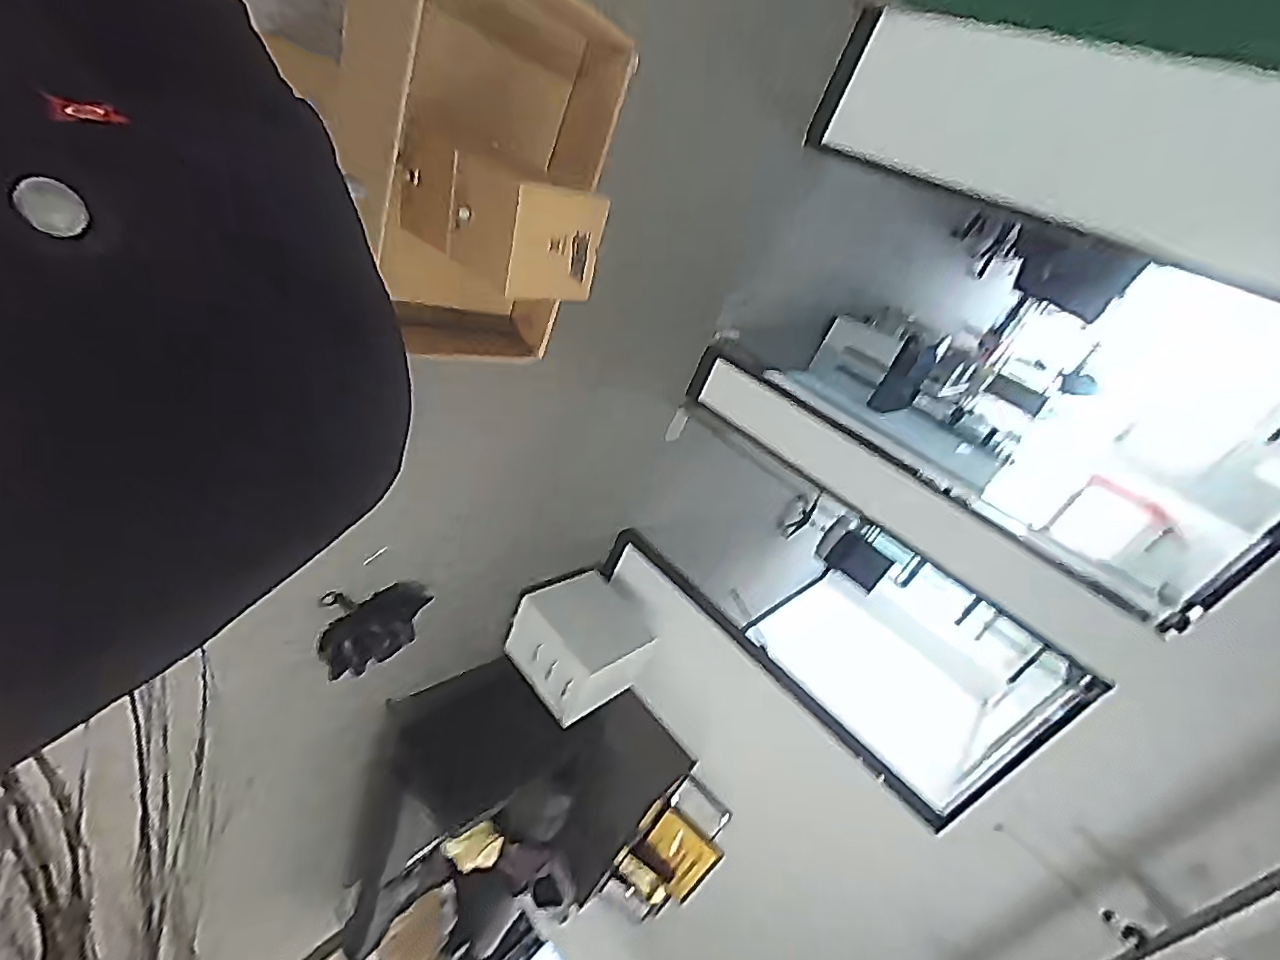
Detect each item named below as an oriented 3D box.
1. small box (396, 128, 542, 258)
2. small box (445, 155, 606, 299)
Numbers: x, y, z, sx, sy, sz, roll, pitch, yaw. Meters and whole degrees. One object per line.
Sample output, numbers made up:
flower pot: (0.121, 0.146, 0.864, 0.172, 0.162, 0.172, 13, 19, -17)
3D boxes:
small box: (-0.302, -0.495, 0.951, 0.179, 0.176, 0.168, -18, 136, -45)
small box: (-0.188, -0.405, 0.876, 0.179, 0.176, 0.168, -18, 136, -45)
